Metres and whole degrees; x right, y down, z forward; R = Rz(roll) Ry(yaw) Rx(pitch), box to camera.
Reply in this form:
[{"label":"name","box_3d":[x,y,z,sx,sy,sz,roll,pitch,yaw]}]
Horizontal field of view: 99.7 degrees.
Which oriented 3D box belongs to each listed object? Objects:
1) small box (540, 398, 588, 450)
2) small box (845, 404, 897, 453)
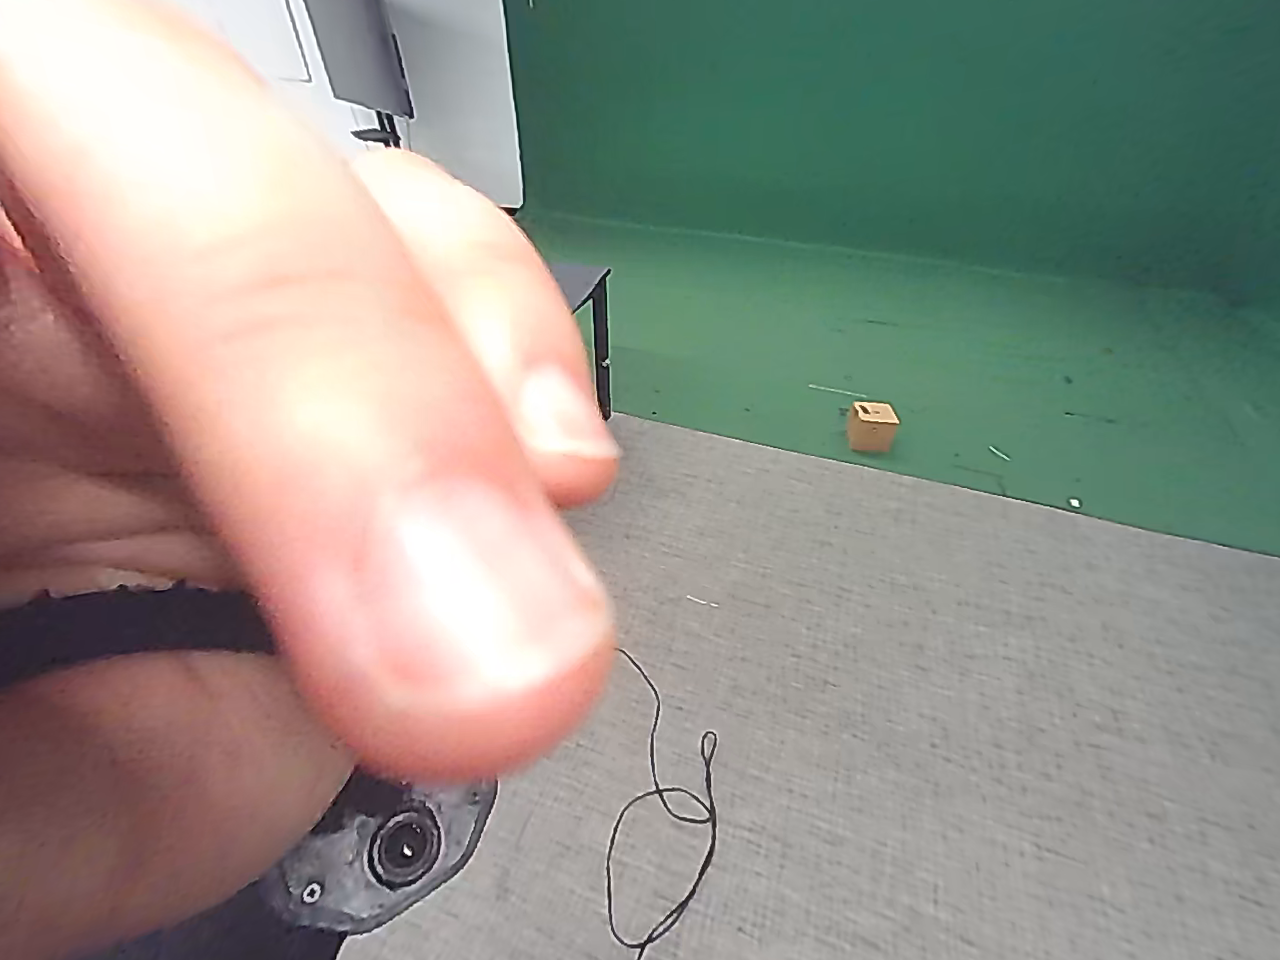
[{"label":"small box","box_3d":[-0.350,-0.259,2.536,0.179,0.176,0.168,11,40,11]},{"label":"small box","box_3d":[1.082,-0.240,2.554,0.179,0.176,0.168,4,40,2]}]
